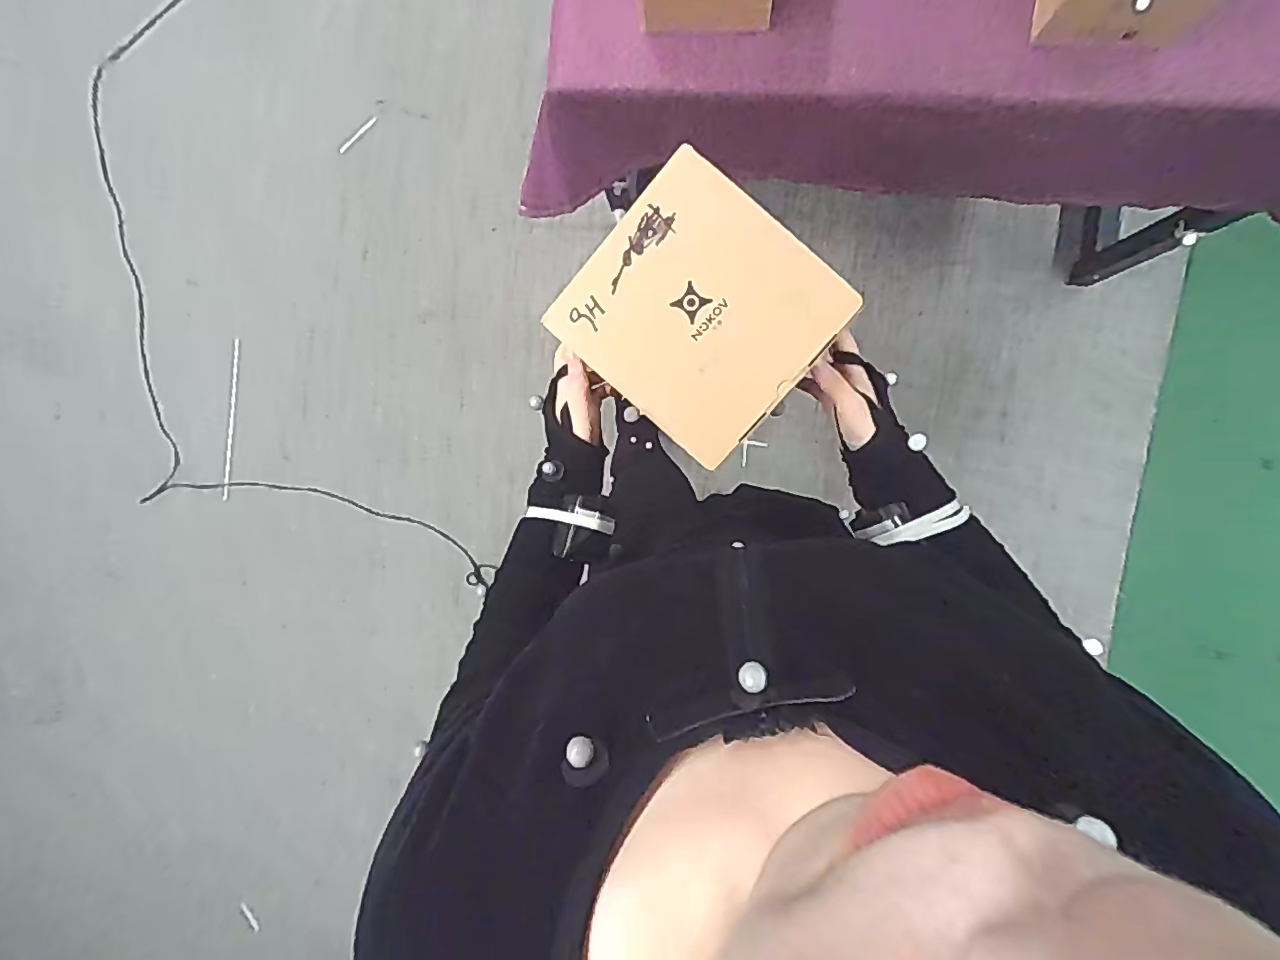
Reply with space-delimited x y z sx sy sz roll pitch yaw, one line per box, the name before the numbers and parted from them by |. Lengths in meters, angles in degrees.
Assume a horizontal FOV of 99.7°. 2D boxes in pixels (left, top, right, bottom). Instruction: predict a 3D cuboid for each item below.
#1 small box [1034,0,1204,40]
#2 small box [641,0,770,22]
small box | 0.580 -0.639 0.601 0.168 0.176 0.179 8 92 6
small box | 0.084 -0.704 0.657 0.179 0.176 0.168 5 92 6
